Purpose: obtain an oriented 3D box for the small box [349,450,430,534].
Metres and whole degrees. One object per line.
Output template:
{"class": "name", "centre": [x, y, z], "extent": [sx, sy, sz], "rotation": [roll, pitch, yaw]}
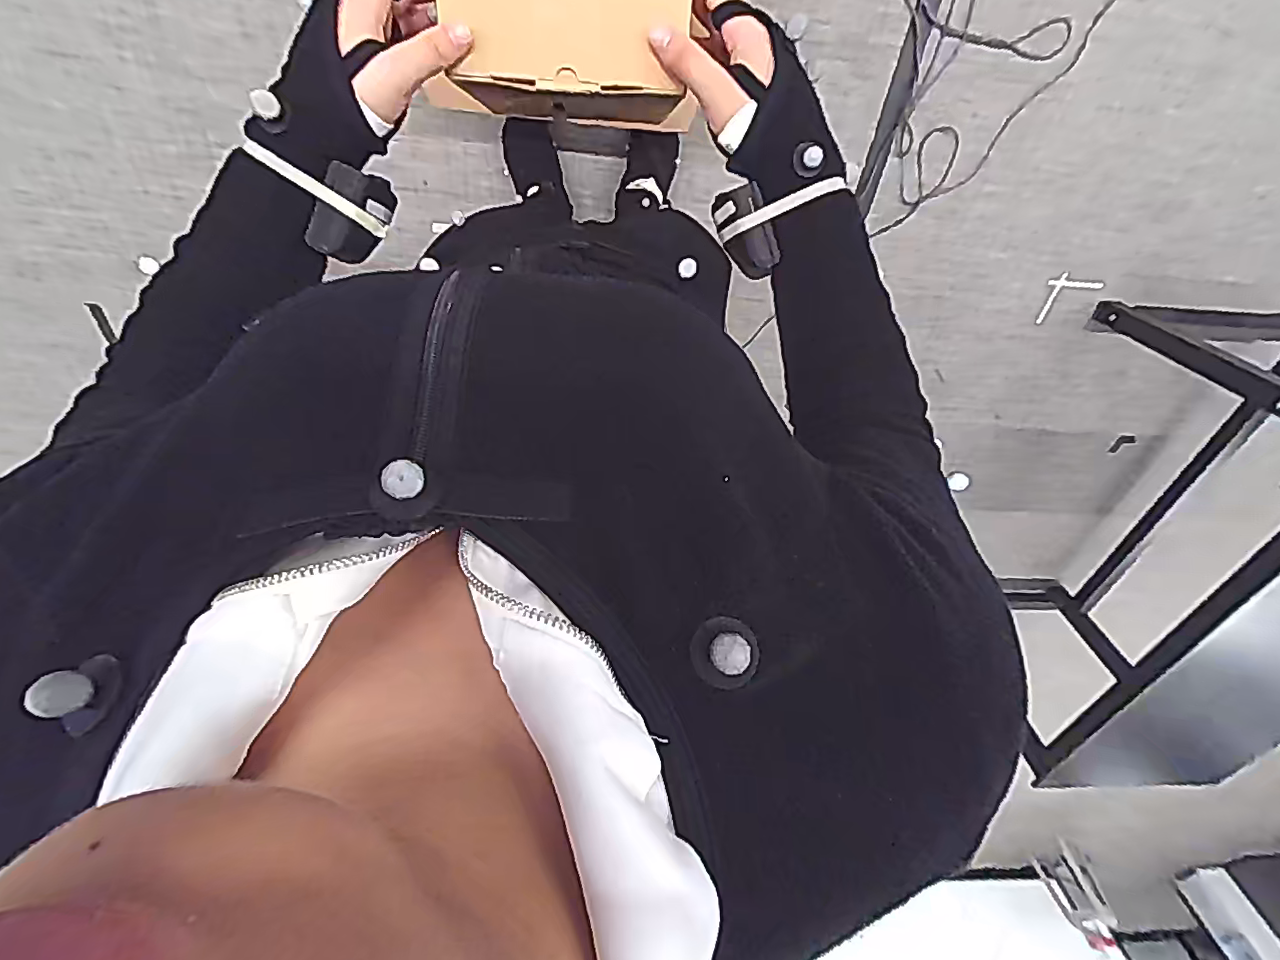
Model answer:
{"class": "small box", "centre": [-0.720, 0.034, 1.575], "extent": [0.168, 0.176, 0.179], "rotation": [3, 125, -9]}
